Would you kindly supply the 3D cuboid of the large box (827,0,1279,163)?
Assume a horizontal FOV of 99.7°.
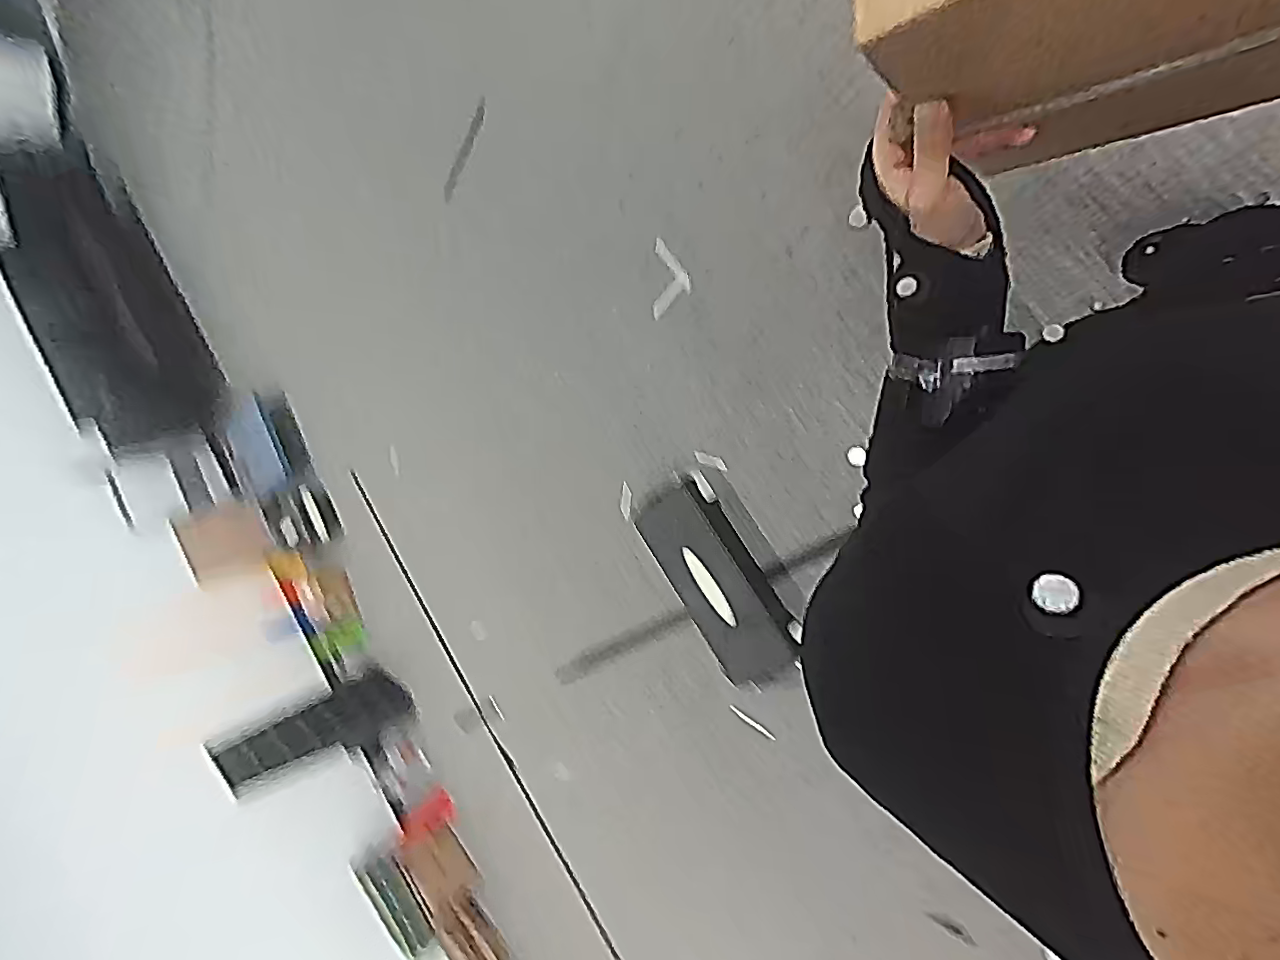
[{"bbox_3d":[0.300,-0.366,0.176,0.408,0.320,0.320,1,106,41],"label":"large box"}]
